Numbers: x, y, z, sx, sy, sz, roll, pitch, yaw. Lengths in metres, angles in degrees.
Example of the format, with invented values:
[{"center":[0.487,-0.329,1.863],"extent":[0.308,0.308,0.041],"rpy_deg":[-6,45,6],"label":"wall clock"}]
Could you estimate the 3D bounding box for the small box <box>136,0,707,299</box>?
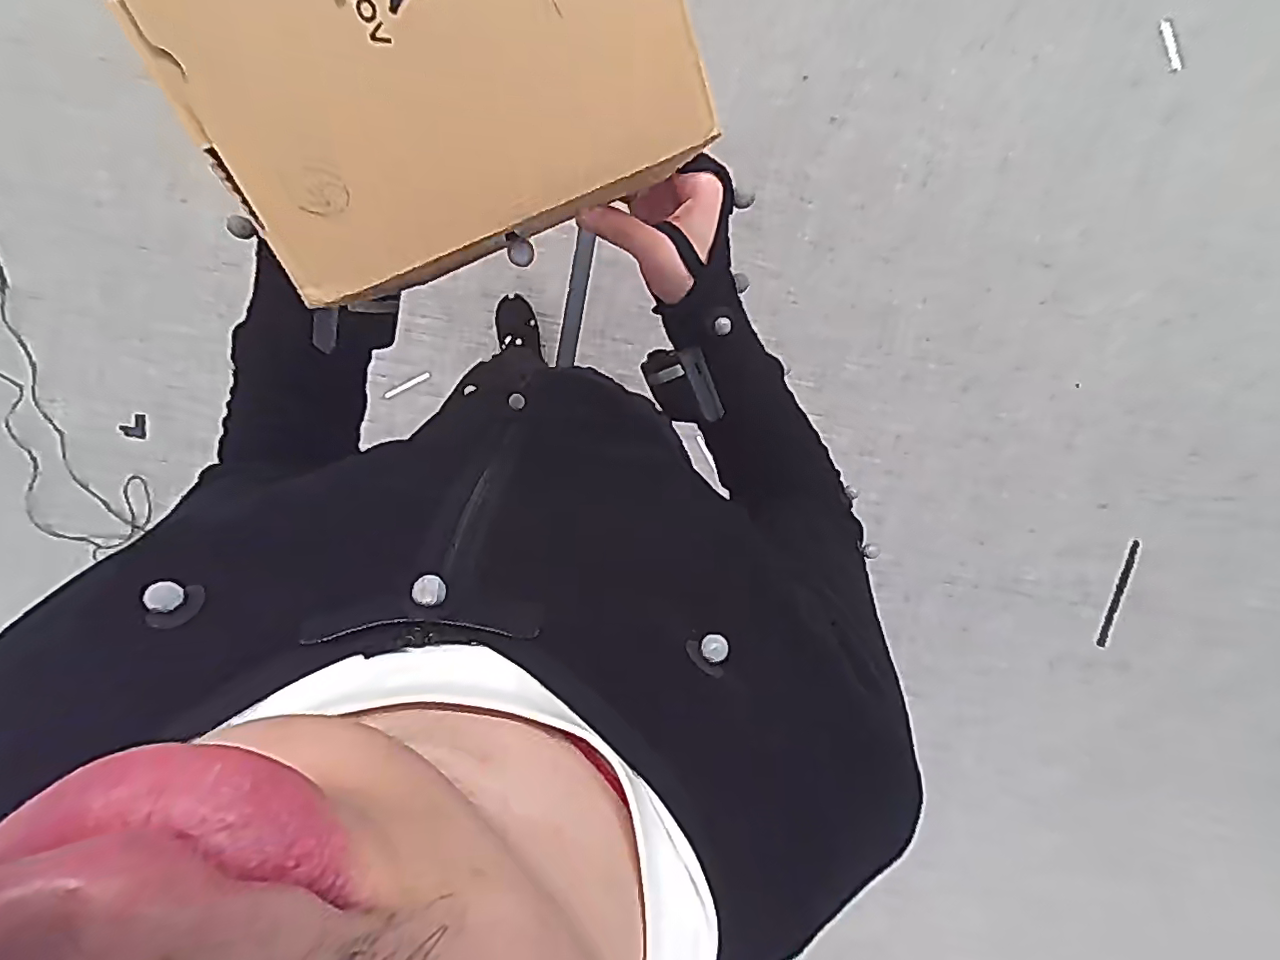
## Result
[{"center":[-0.087,-0.203,0.260],"extent":[0.179,0.176,0.168],"rpy_deg":[-22,115,3],"label":"small box"}]
